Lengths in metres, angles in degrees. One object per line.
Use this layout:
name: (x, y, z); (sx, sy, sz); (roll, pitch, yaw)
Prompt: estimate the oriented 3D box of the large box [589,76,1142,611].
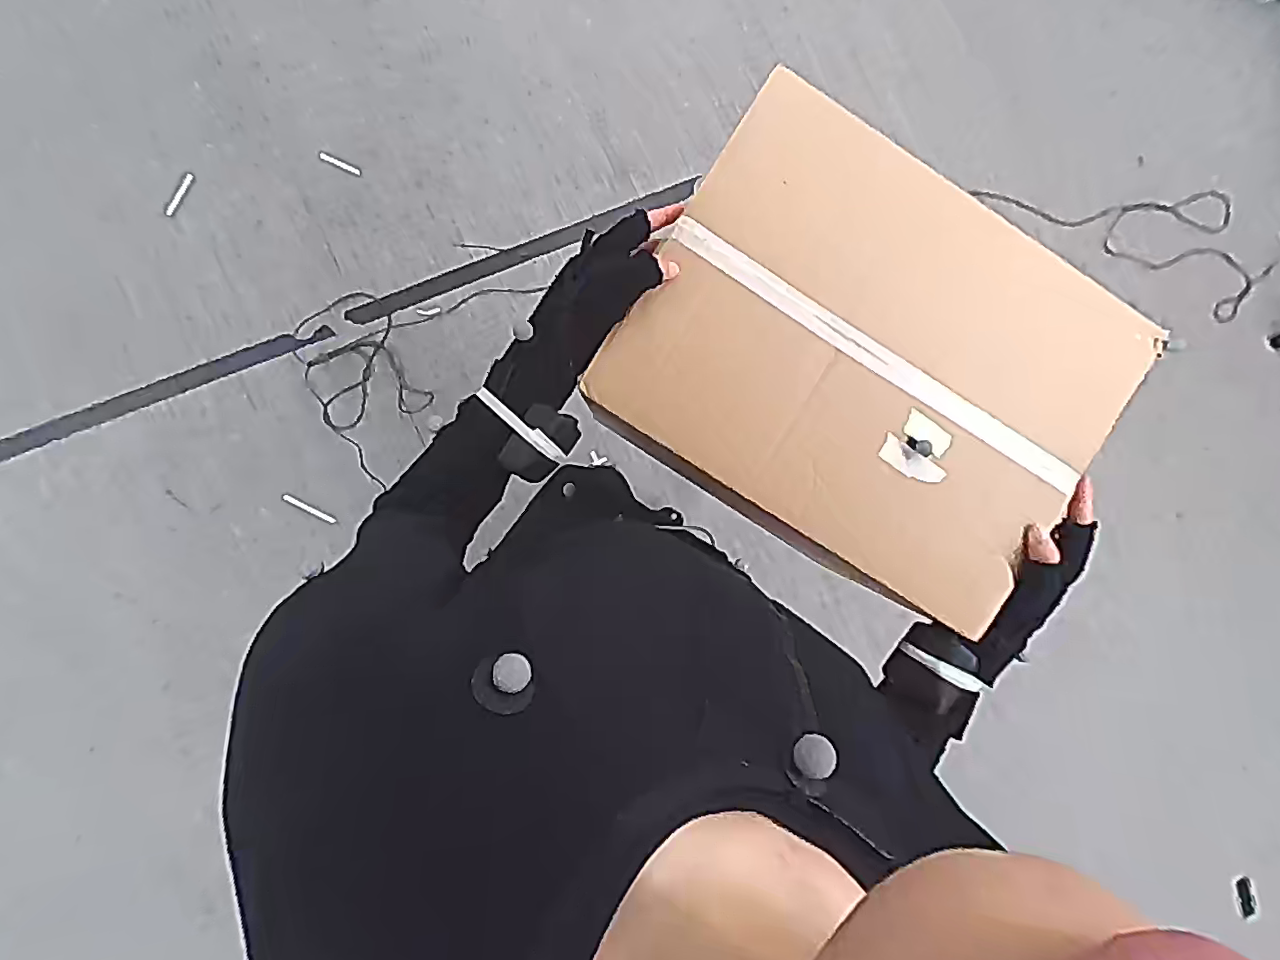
large box: (0.190, -0.118, 0.614); (0.408, 0.320, 0.320); (32, 92, -4)
